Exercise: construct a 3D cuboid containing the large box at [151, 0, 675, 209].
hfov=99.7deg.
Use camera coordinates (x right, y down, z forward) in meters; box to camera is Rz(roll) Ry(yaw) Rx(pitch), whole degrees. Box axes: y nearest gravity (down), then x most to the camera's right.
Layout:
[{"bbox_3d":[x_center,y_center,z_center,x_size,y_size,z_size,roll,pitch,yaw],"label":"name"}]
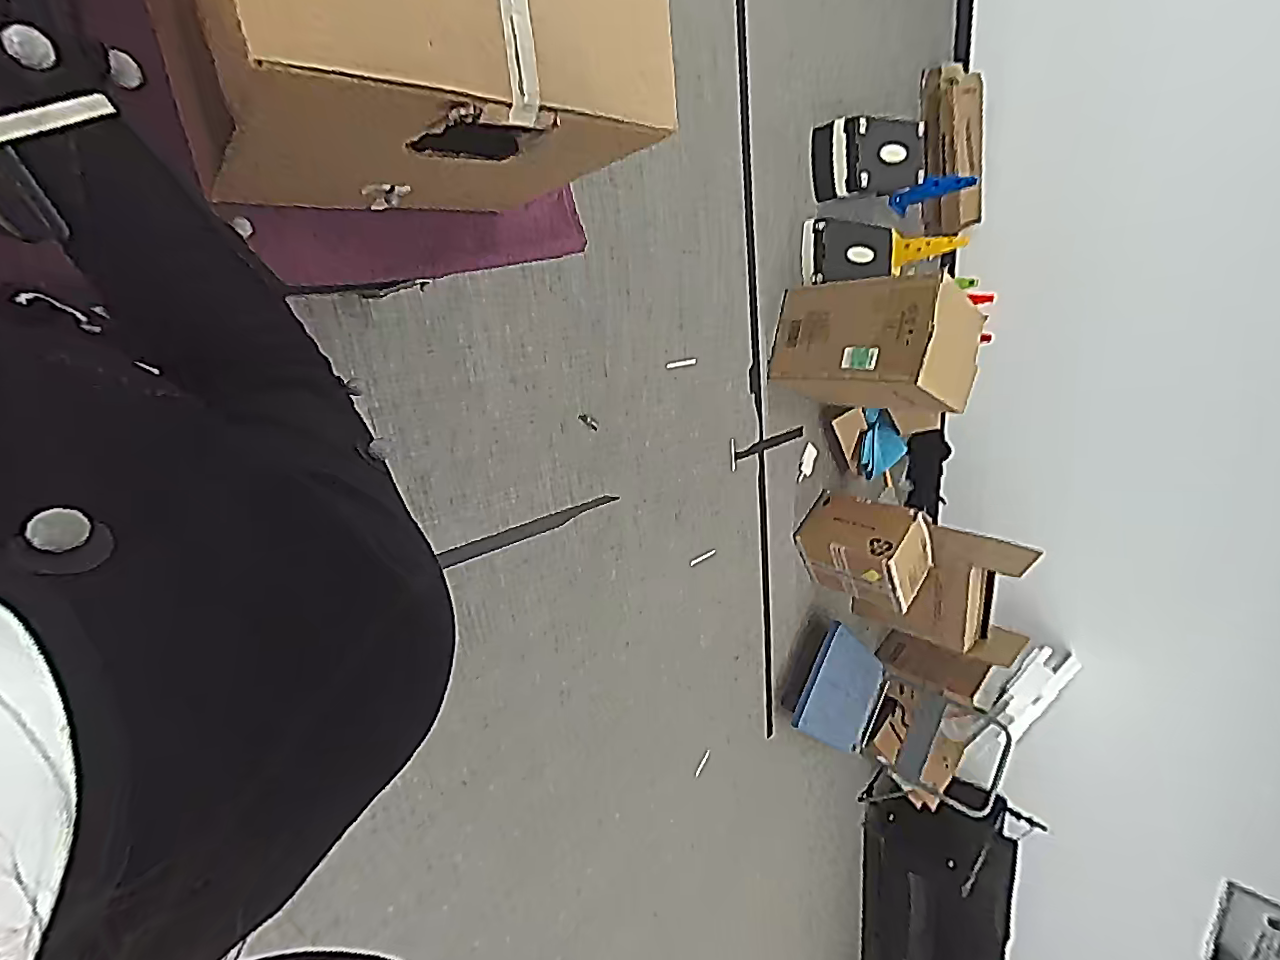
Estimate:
[{"bbox_3d":[-0.206,-0.461,0.422,0.320,0.320,0.408,-22,112,-39],"label":"large box"}]
